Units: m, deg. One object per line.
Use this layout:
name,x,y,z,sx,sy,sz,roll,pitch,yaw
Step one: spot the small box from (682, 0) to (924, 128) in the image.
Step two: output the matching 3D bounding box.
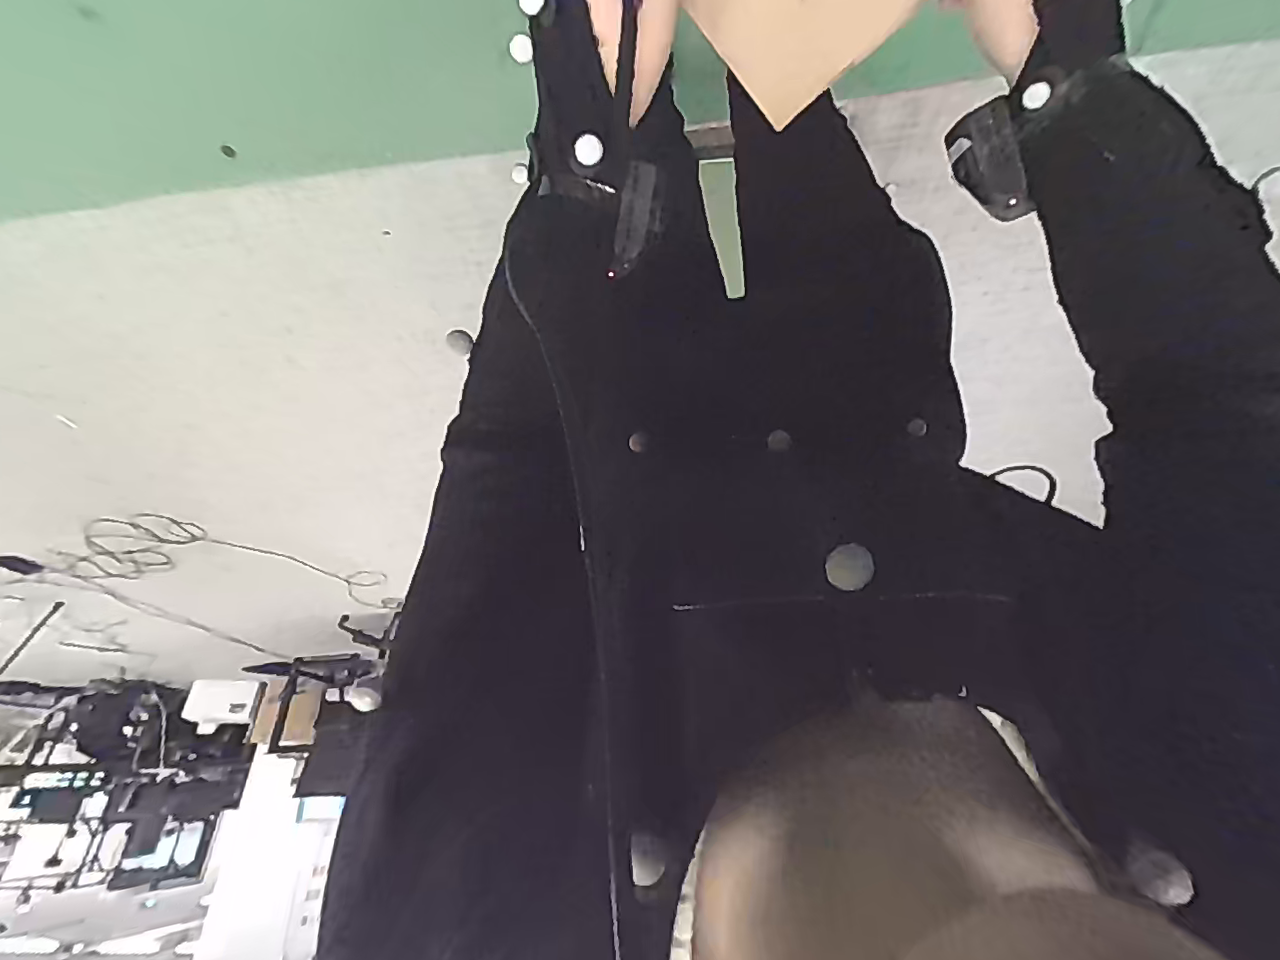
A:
small box,0.087,-0.376,0.322,0.168,0.176,0.179,-31,145,33
